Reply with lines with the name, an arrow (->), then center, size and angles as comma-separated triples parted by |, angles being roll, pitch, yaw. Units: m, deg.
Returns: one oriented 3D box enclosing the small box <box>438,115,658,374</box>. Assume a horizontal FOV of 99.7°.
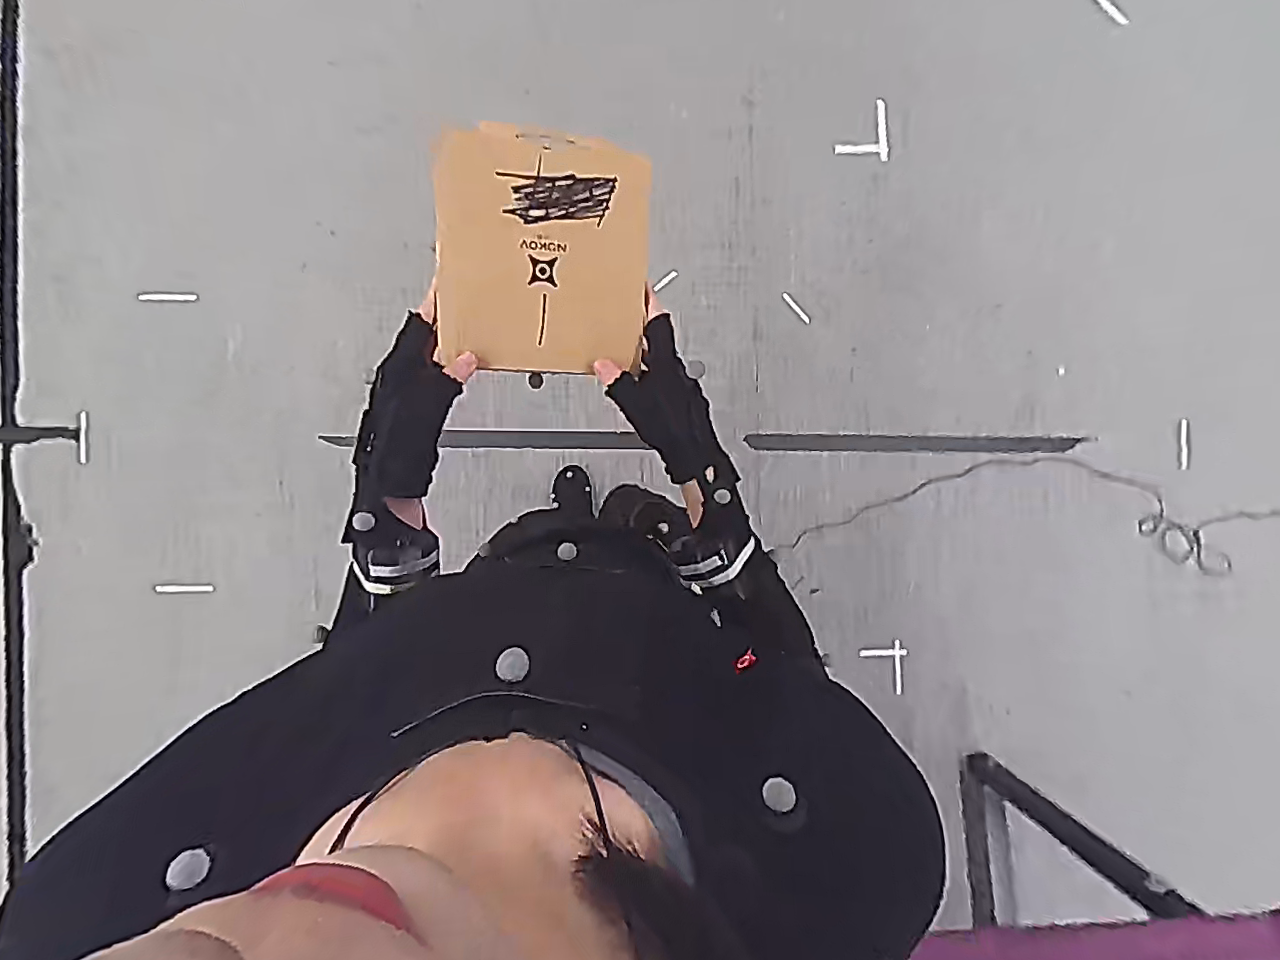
small box -> -0.086, -0.191, 0.496 | 0.168, 0.176, 0.179 | 2, 102, -10
